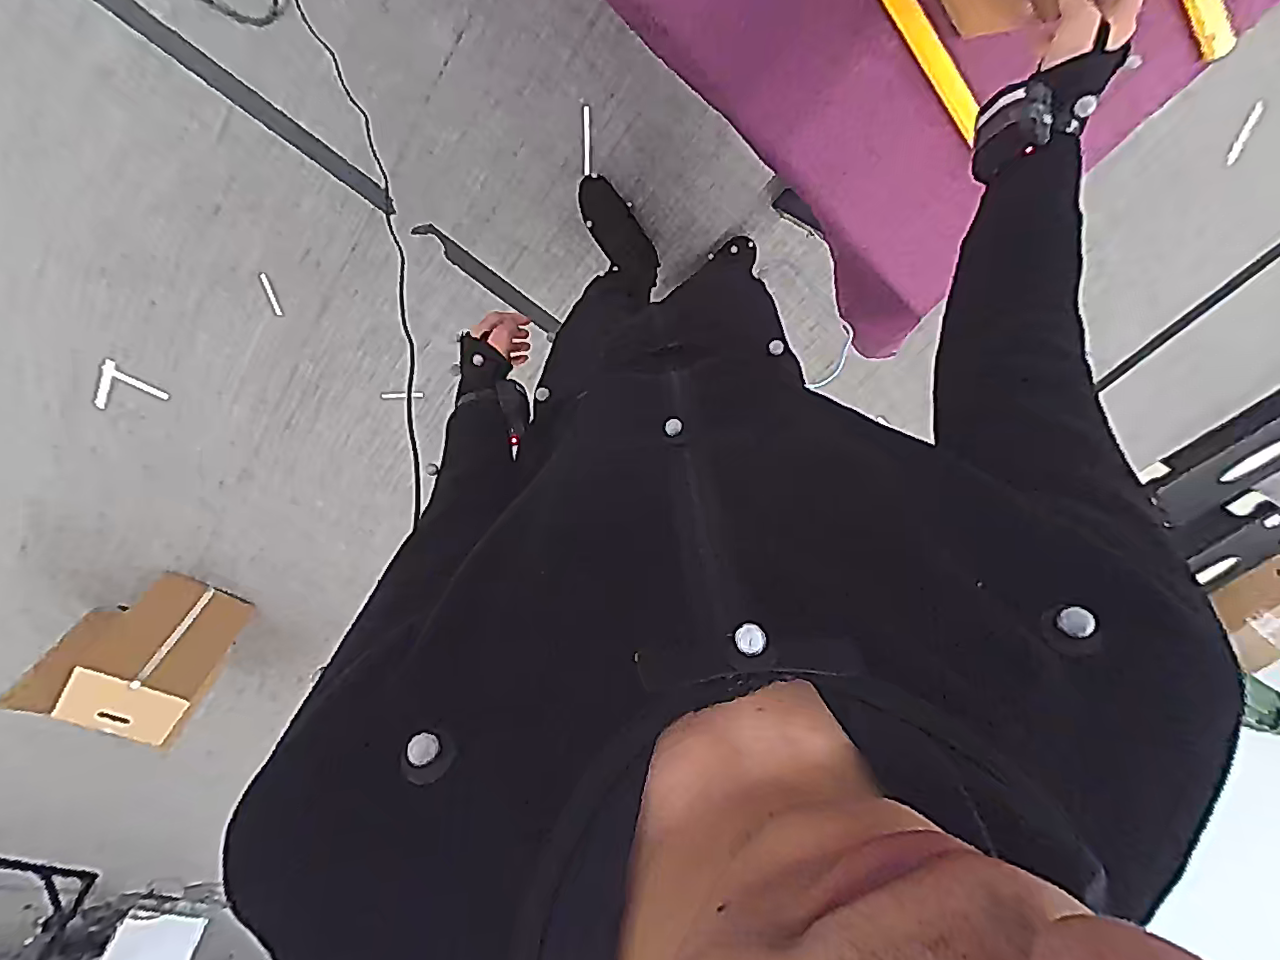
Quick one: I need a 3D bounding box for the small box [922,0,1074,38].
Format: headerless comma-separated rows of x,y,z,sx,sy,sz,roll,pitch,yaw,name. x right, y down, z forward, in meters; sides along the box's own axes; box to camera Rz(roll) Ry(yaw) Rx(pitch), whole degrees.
0.361,-0.559,0.503,0.179,0.176,0.168,36,115,-25,small box
